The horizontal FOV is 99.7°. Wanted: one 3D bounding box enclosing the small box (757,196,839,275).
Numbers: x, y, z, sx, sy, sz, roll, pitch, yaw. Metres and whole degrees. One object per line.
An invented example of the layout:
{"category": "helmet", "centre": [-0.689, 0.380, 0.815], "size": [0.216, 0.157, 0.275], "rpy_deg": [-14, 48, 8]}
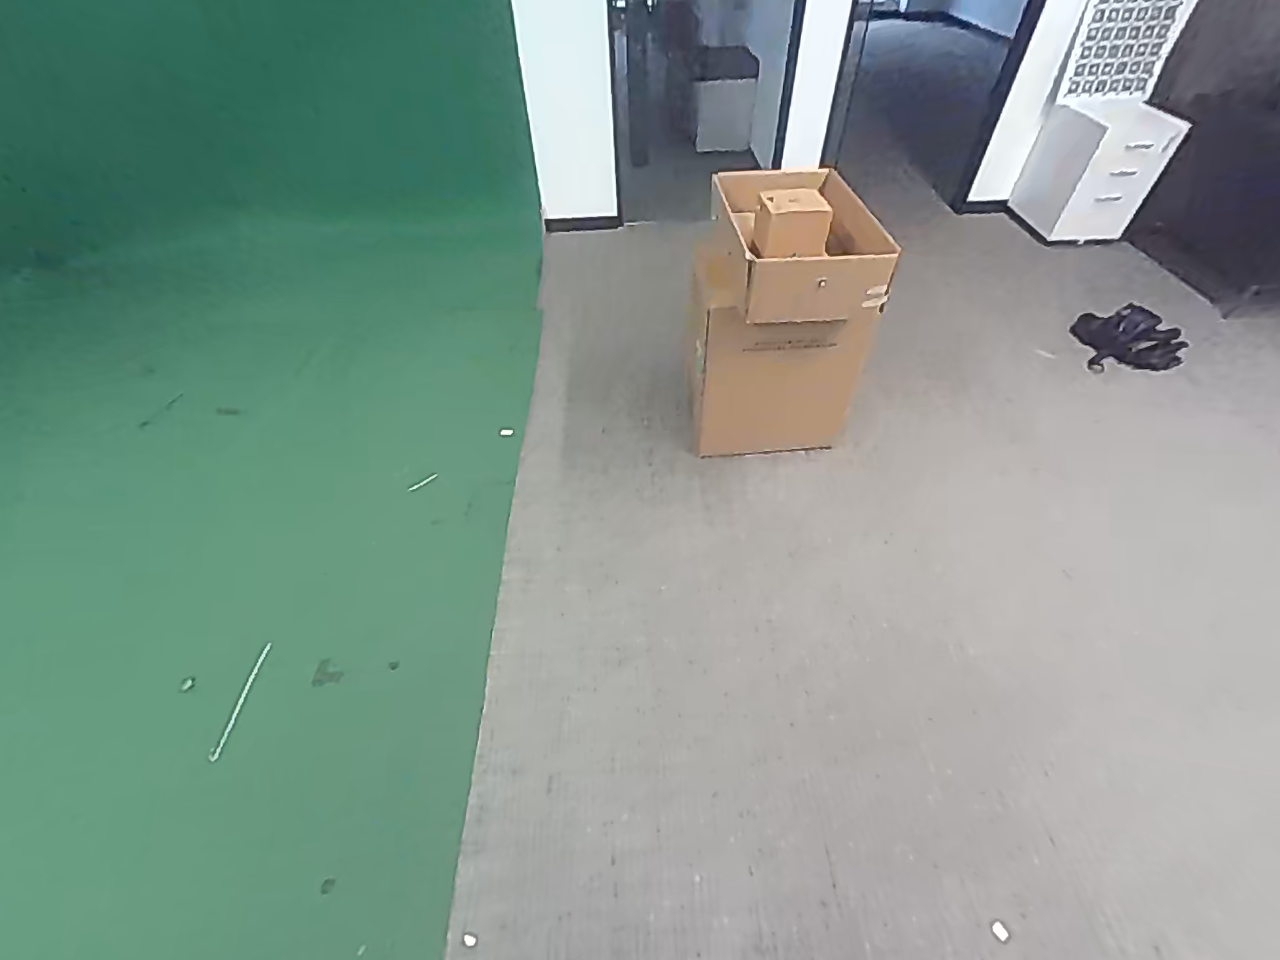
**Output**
{"category": "small box", "centre": [0.458, -0.721, 1.597], "size": [0.179, 0.176, 0.168], "rpy_deg": [-3, 46, -3]}
